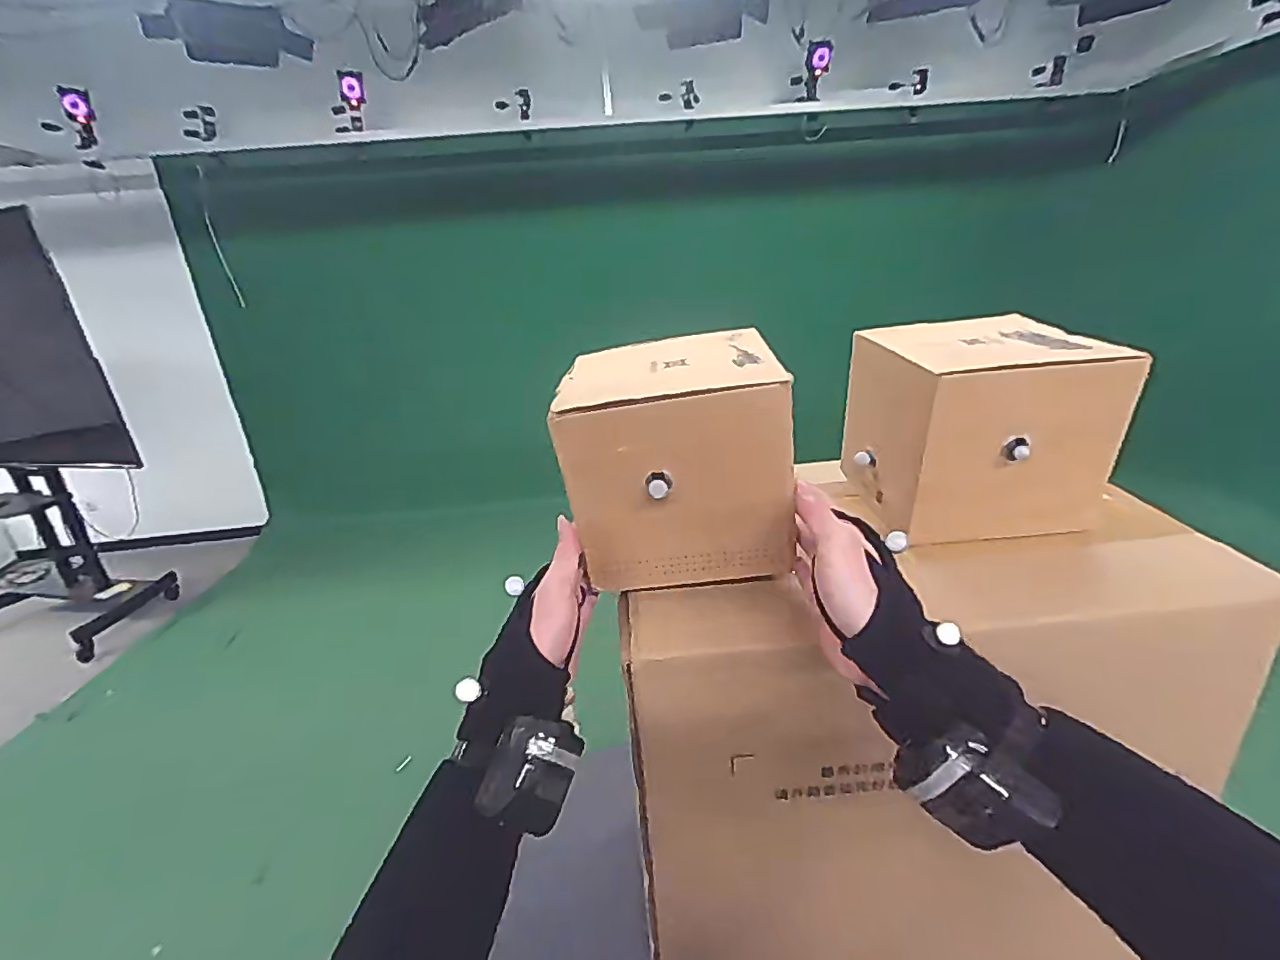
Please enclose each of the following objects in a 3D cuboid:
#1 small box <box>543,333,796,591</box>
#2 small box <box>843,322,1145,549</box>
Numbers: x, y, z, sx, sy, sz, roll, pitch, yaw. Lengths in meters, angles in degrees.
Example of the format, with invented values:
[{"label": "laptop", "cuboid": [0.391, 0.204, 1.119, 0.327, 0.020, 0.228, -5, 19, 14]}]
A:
[{"label": "small box", "cuboid": [0.033, -0.017, 0.486, 0.179, 0.176, 0.168, -8, 28, 7]}, {"label": "small box", "cuboid": [0.320, -0.048, 0.535, 0.179, 0.176, 0.168, -6, 27, 0]}]
